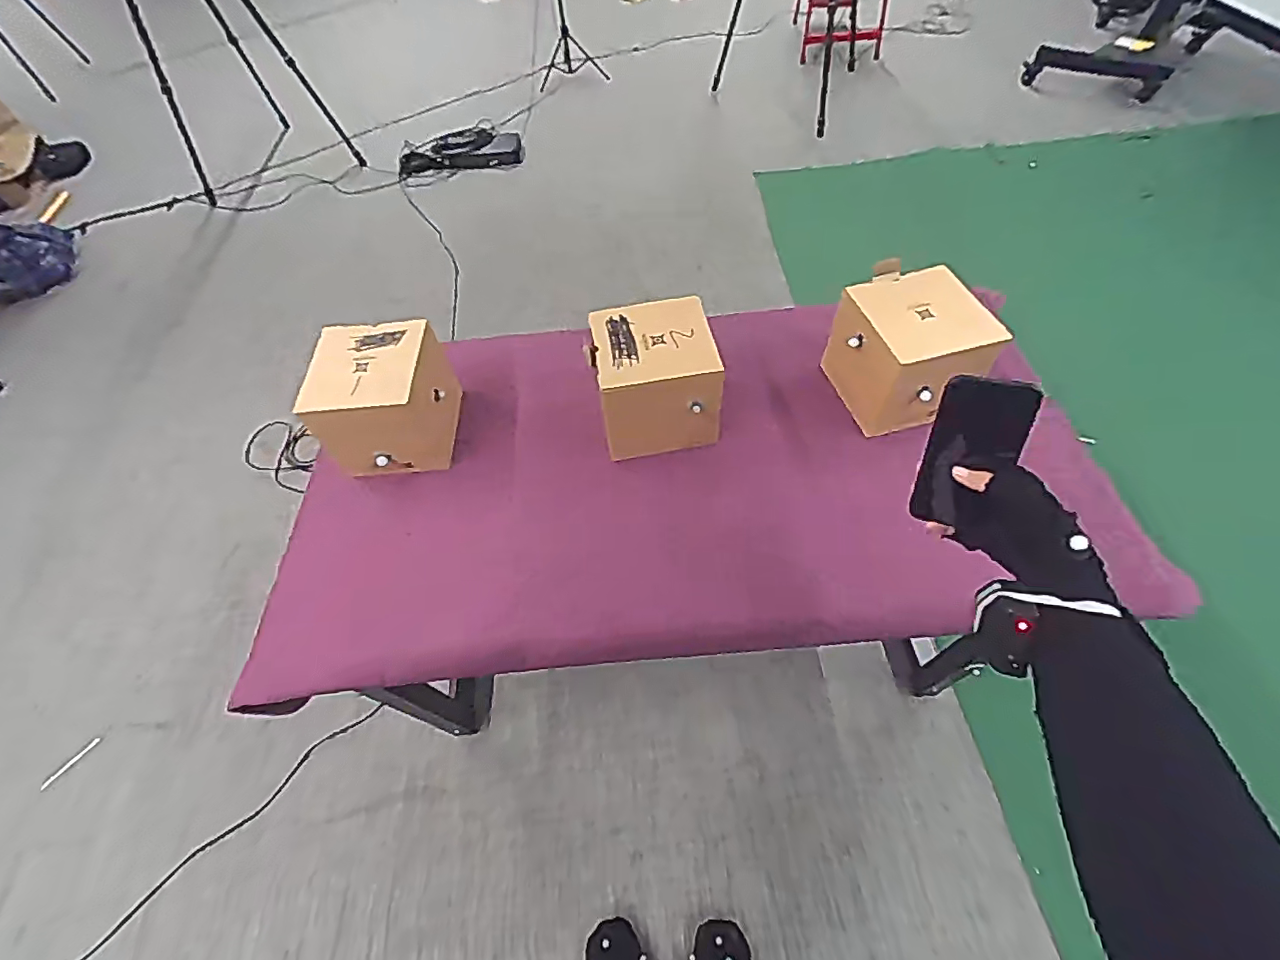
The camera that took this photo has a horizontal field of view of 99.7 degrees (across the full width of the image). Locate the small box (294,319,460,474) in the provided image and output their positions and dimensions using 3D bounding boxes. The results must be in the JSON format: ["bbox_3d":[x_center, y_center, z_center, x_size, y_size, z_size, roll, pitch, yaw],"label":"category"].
[{"bbox_3d":[-0.399,-0.128,0.859,0.168,0.176,0.179,-4,58,2],"label":"small box"}]

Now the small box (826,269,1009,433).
[{"bbox_3d":[0.413,-0.192,0.842,0.168,0.176,0.179,-14,56,-4],"label":"small box"}]
